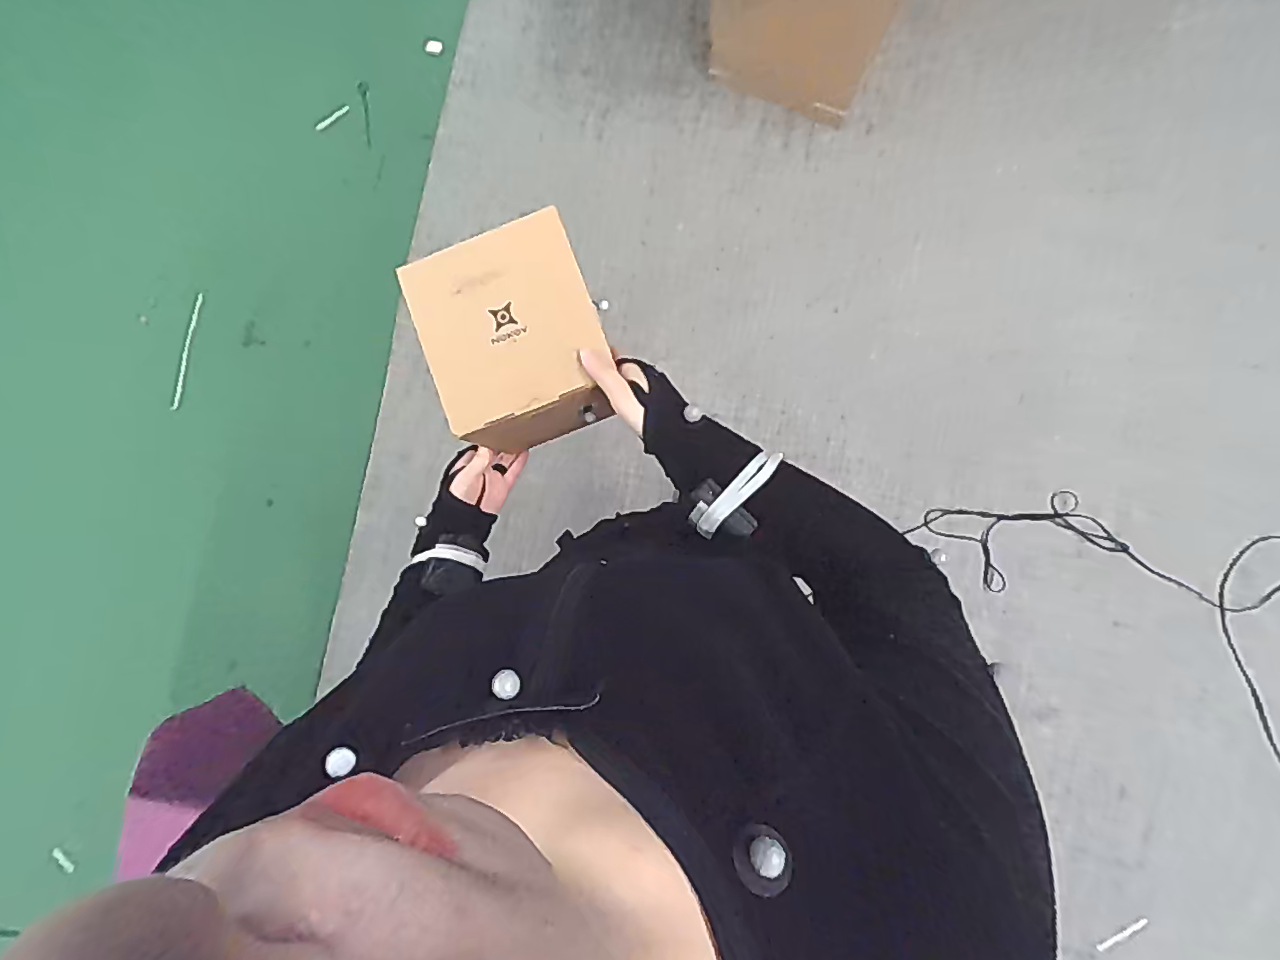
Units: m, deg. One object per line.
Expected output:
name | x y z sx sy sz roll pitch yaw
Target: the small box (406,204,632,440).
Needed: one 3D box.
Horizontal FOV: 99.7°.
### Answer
small box | -0.115 -0.150 0.586 0.168 0.176 0.179 -19 85 4
